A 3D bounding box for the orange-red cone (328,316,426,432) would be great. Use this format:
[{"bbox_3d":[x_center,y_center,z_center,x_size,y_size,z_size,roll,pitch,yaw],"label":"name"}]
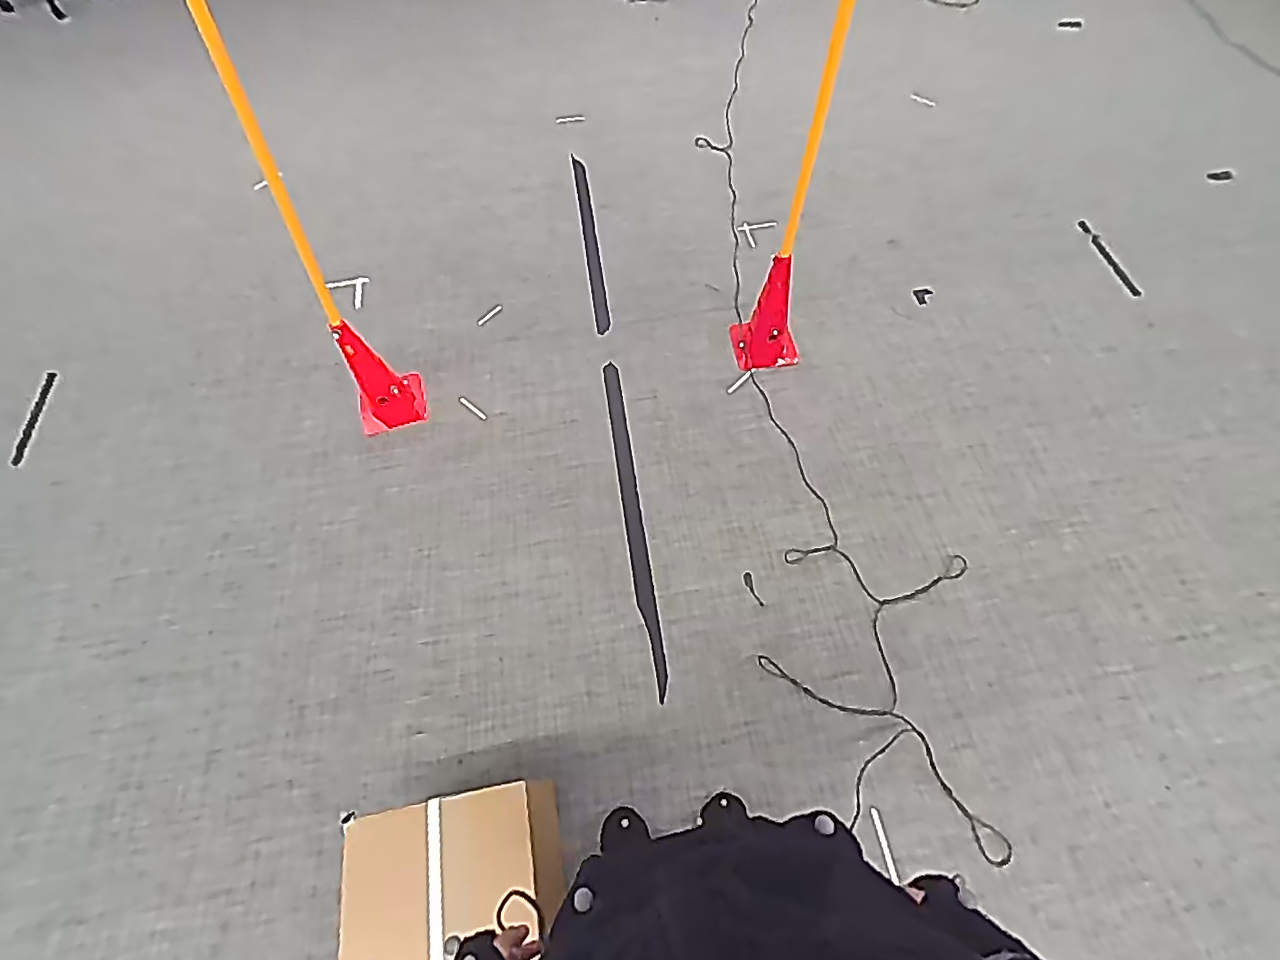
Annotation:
[{"bbox_3d":[-0.786,-0.328,1.553,0.199,0.360,0.198,-17,62,-6],"label":"orange-red cone"}]
